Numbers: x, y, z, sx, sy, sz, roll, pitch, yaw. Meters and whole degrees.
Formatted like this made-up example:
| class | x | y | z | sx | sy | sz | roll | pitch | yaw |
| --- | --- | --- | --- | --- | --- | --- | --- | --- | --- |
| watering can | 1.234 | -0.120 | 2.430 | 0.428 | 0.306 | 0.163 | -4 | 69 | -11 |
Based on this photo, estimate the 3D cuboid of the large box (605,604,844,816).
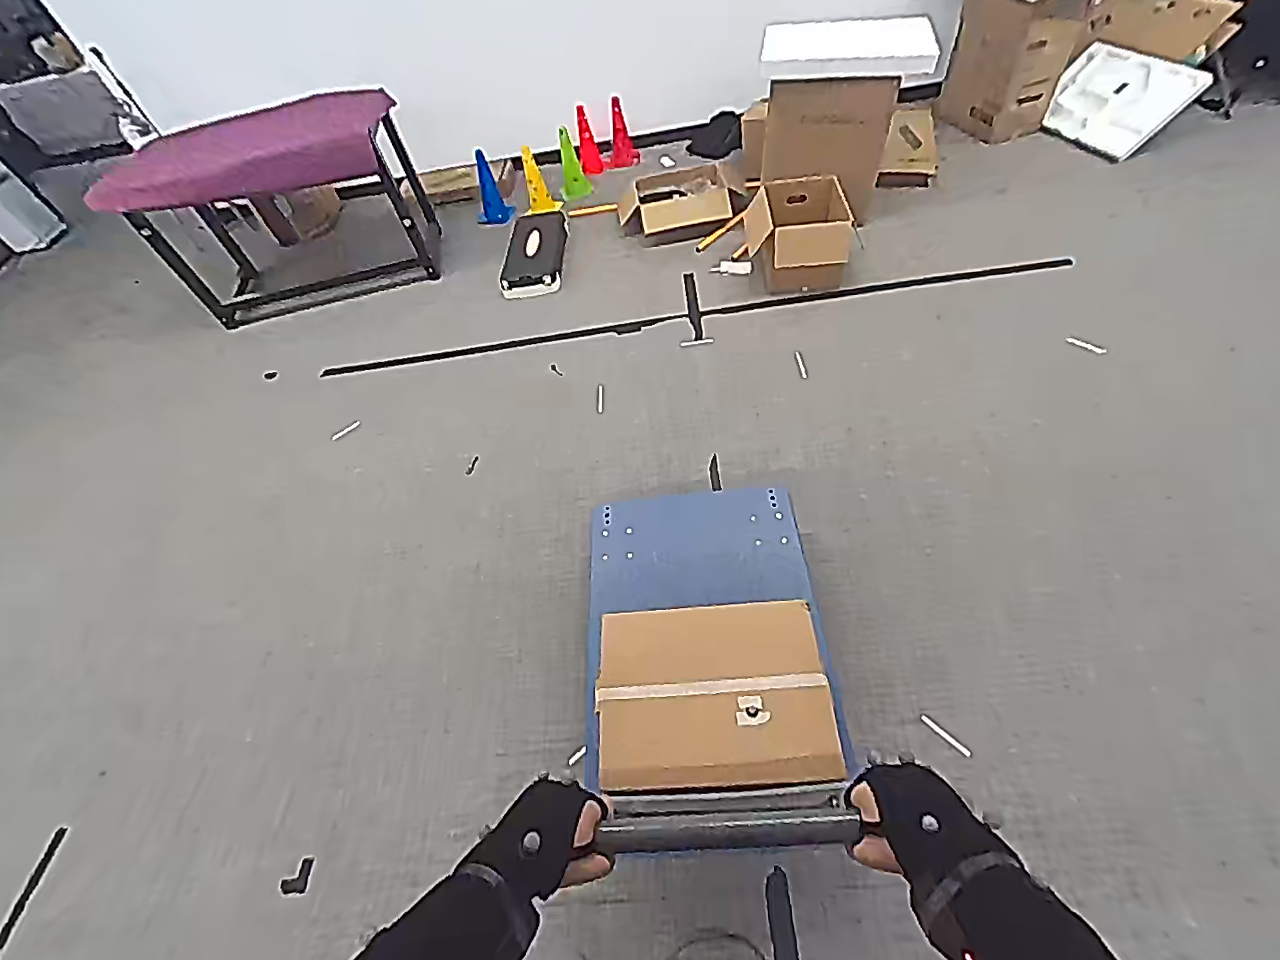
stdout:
| class | x | y | z | sx | sy | sz | roll | pitch | yaw |
| --- | --- | --- | --- | --- | --- | --- | --- | --- | --- |
| large box | 0.148 | 0.475 | 1.101 | 0.408 | 0.320 | 0.320 | -5 | 52 | 4 |
